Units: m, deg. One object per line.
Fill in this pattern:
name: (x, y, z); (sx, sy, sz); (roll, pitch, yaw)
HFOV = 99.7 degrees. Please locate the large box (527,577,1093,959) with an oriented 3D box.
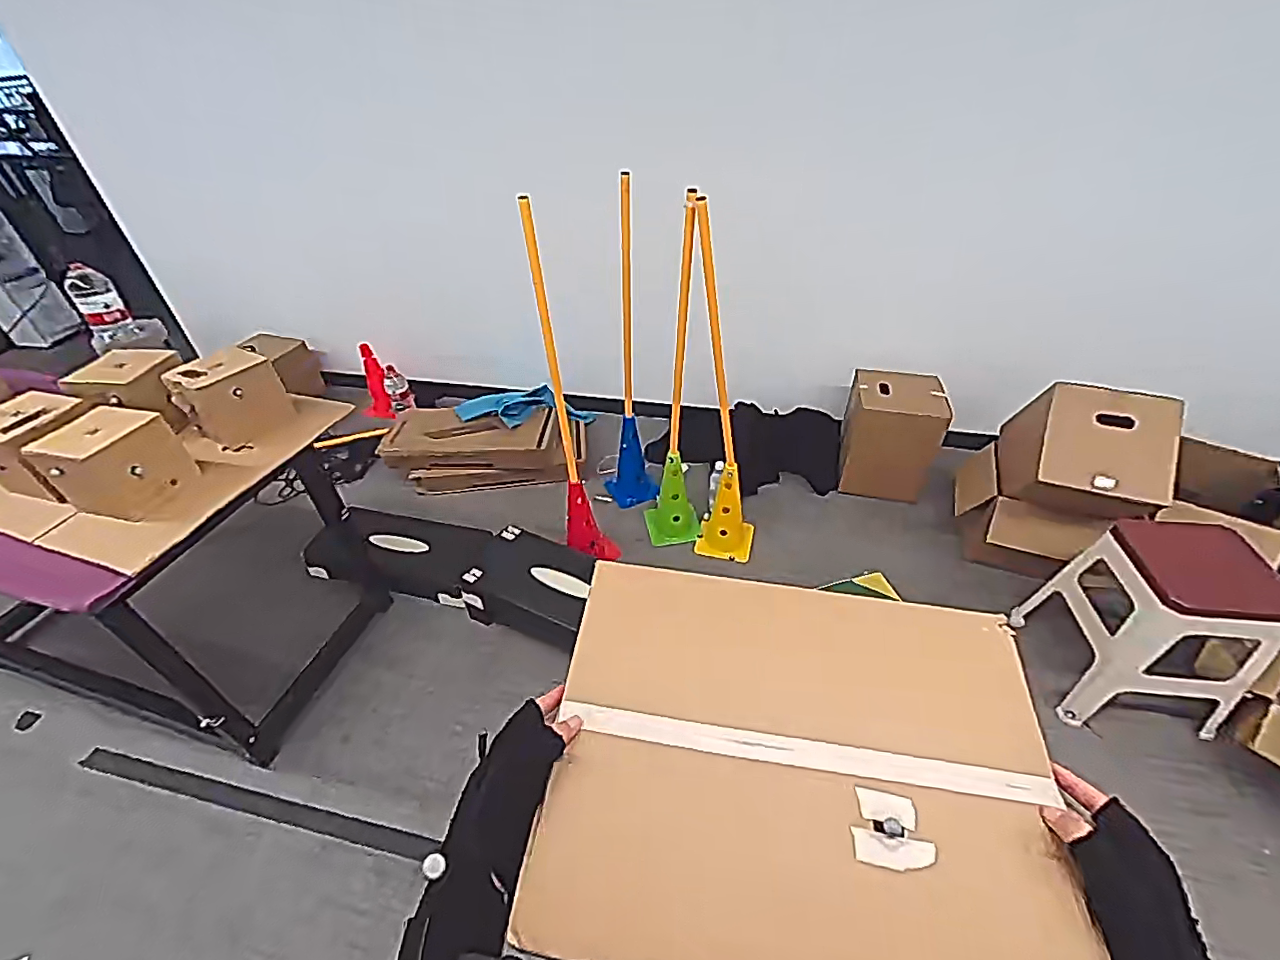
large box: (0.134, 0.334, 0.572); (0.408, 0.320, 0.320); (7, 51, 6)
